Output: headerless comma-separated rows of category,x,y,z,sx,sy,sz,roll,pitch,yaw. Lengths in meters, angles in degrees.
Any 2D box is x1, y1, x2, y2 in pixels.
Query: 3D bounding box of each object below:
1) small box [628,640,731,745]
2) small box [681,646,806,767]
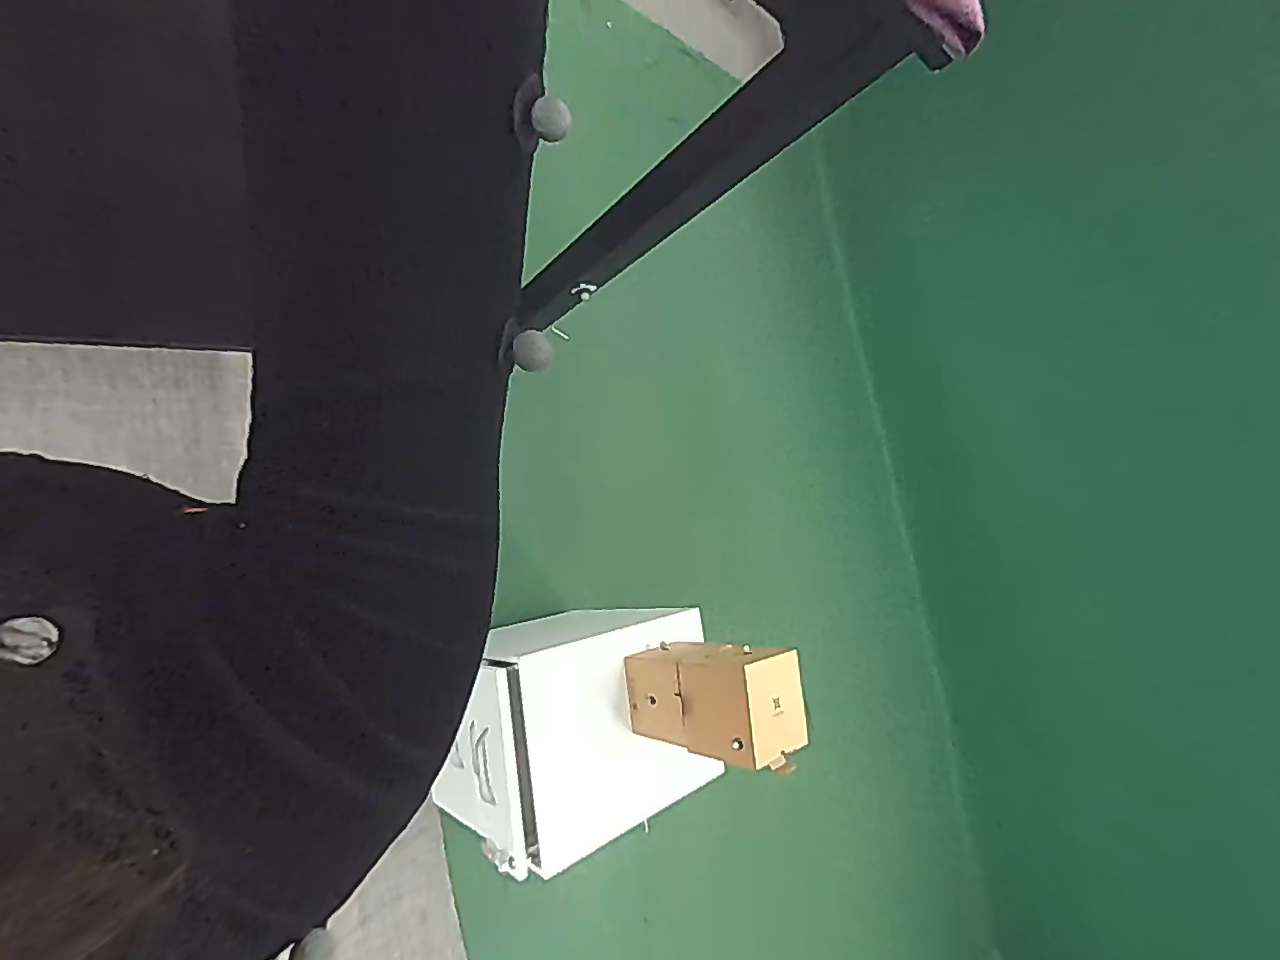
small box,0.088,0.445,1.162,0.179,0.176,0.168,-1,81,-41
small box,0.193,0.420,1.040,0.168,0.176,0.179,2,79,-42
